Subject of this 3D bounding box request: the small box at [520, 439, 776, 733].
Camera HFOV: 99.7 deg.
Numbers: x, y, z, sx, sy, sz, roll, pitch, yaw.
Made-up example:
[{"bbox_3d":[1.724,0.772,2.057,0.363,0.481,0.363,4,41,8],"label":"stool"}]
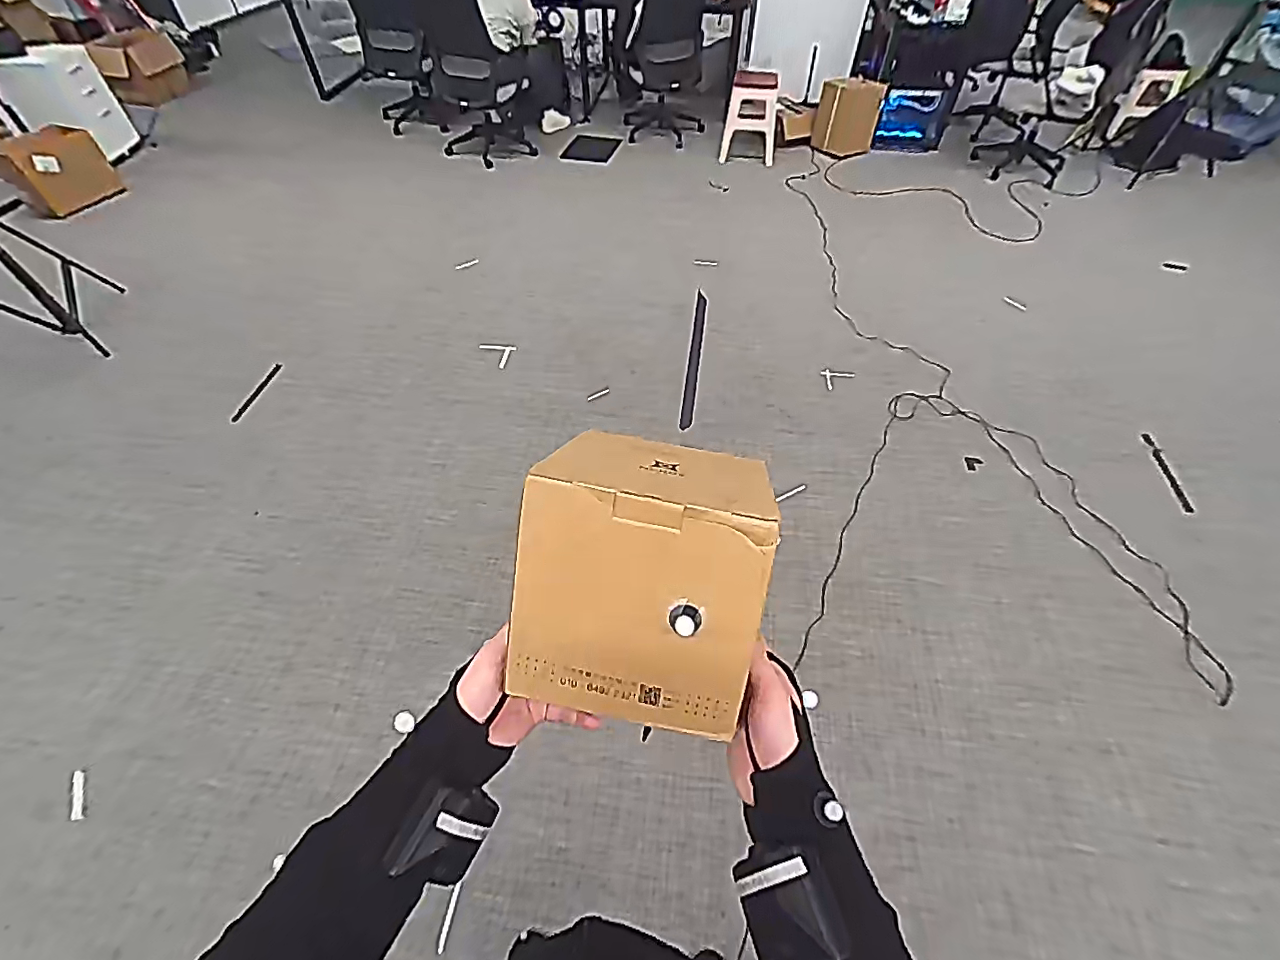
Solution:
[{"bbox_3d":[0.008,0.074,0.449,0.168,0.176,0.179,11,15,5],"label":"small box"}]
